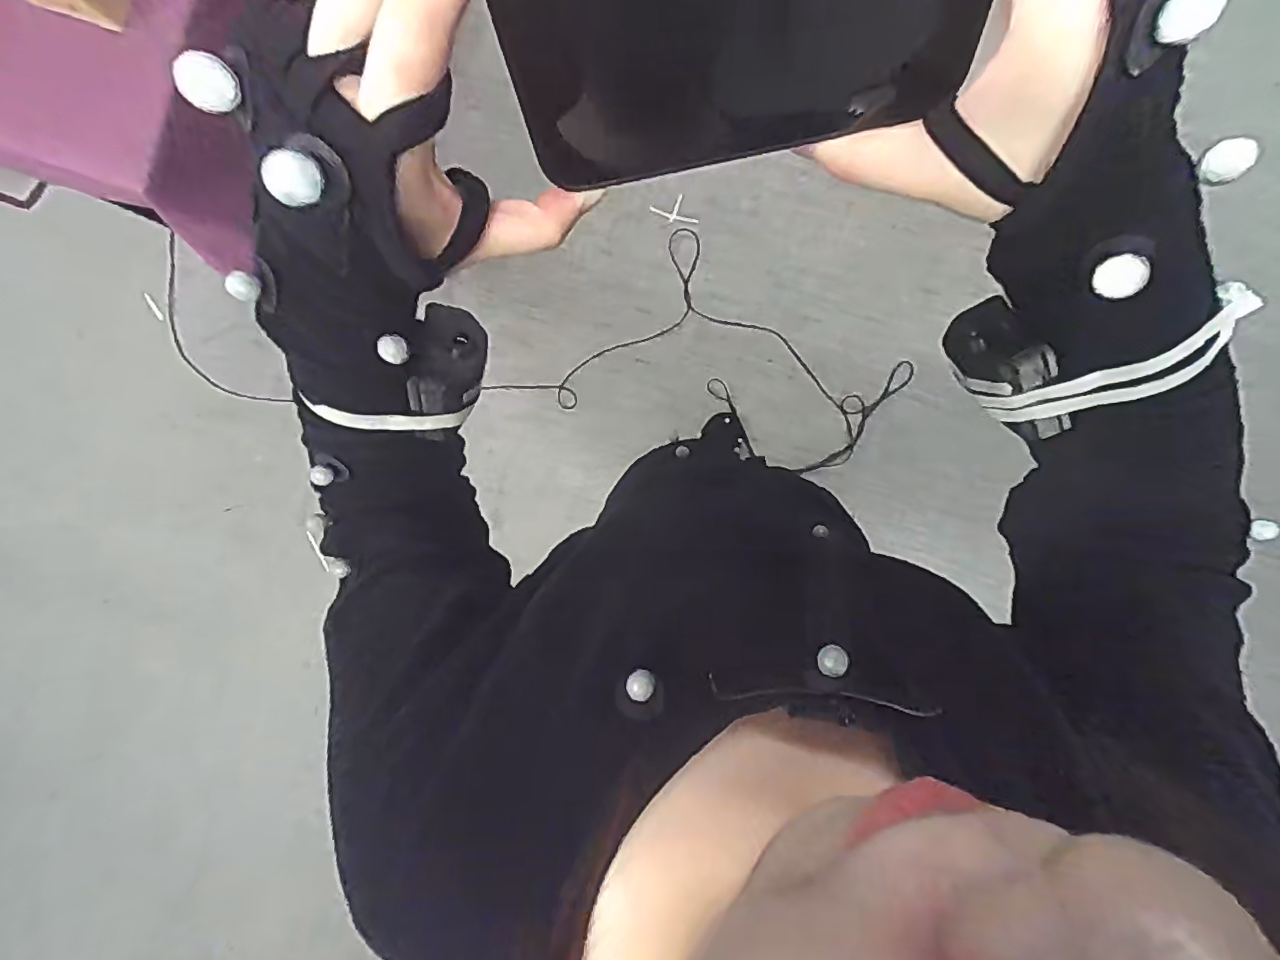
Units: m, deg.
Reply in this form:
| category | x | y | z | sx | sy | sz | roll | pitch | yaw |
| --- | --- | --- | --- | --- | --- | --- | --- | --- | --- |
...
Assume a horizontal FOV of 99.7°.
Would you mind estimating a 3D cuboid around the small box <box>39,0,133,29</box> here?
| category | x | y | z | sx | sy | sz | roll | pitch | yaw |
| --- | --- | --- | --- | --- | --- | --- | --- | --- | --- |
| small box | -0.821 | -0.770 | 0.728 | 0.168 | 0.176 | 0.179 | 20 | 94 | 4 |
